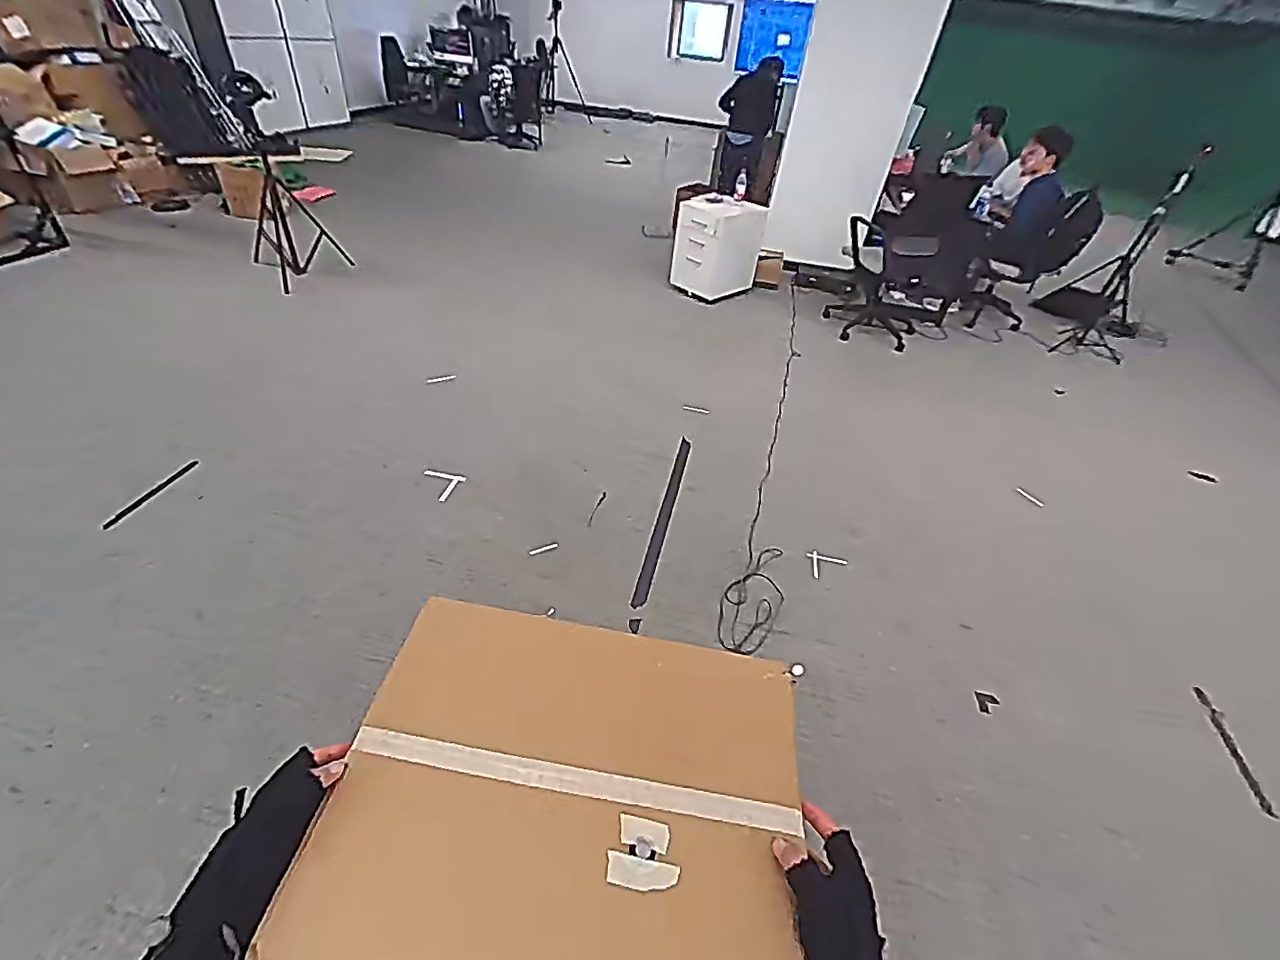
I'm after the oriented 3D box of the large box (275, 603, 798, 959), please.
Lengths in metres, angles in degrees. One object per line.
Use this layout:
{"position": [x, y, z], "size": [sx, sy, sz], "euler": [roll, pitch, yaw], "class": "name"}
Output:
{"position": [-0.075, 0.381, 0.603], "size": [0.408, 0.320, 0.320], "euler": [10, 44, 2], "class": "large box"}
